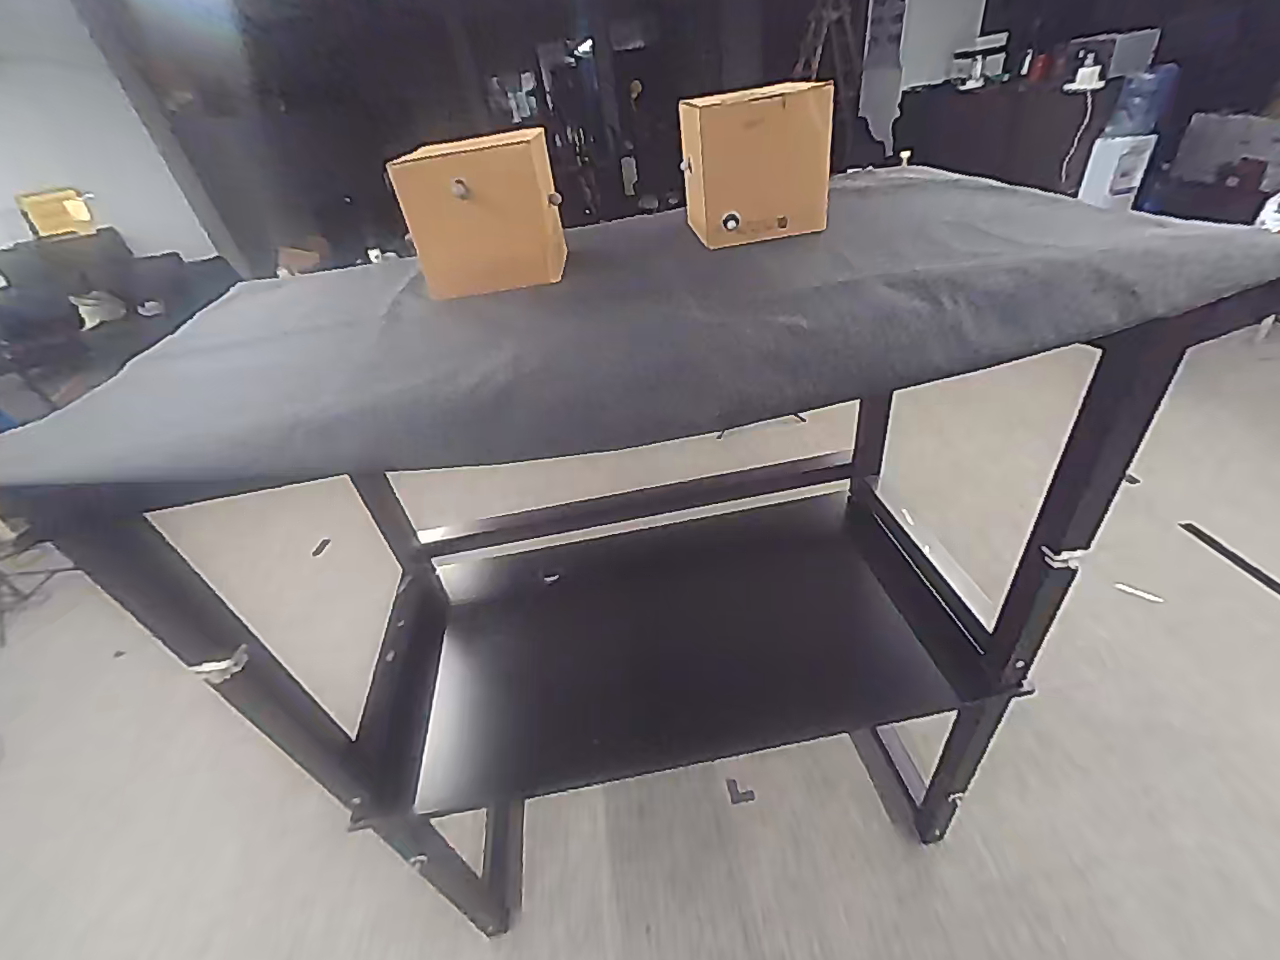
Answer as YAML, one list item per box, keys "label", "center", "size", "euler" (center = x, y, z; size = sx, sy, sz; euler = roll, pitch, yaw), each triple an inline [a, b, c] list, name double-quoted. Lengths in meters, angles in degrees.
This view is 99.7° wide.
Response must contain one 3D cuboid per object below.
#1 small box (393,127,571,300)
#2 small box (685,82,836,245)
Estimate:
- label: "small box"
  center: [-0.196, -0.363, 0.738]
  size: [0.179, 0.176, 0.168]
  euler: [-8, 37, 3]
- label: "small box"
  center: [0.161, -0.441, 0.761]
  size: [0.168, 0.176, 0.179]
  euler: [-9, 36, 1]
